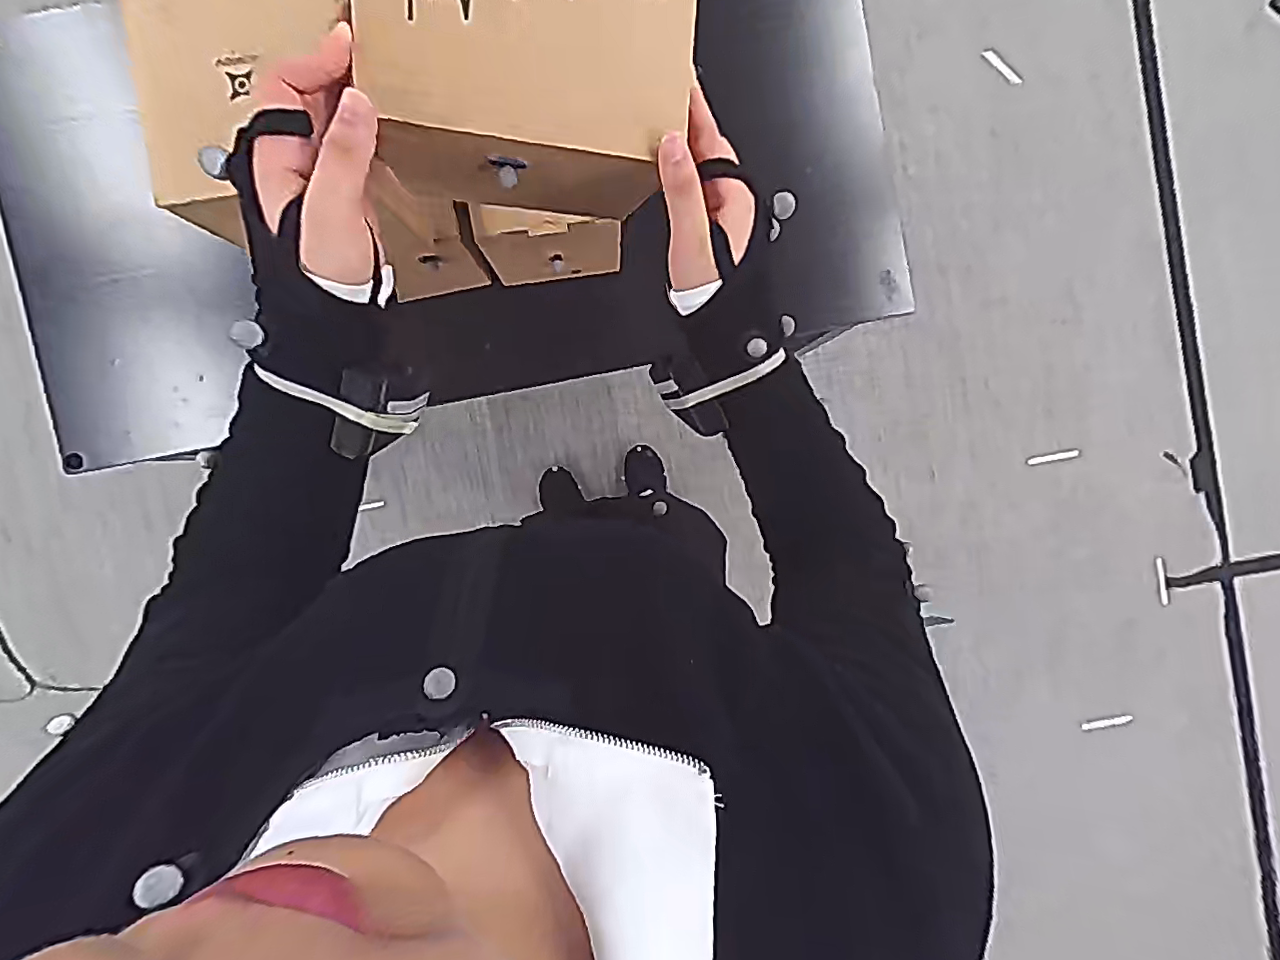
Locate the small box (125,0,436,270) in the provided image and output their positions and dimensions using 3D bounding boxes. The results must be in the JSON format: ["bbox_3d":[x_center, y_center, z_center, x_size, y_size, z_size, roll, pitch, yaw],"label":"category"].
[{"bbox_3d":[-0.309,-0.318,0.502,0.168,0.176,0.179,-8,94,0],"label":"small box"}]

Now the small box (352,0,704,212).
[{"bbox_3d":[-0.068,-0.280,0.341,0.179,0.176,0.168,0,106,-15],"label":"small box"}]
